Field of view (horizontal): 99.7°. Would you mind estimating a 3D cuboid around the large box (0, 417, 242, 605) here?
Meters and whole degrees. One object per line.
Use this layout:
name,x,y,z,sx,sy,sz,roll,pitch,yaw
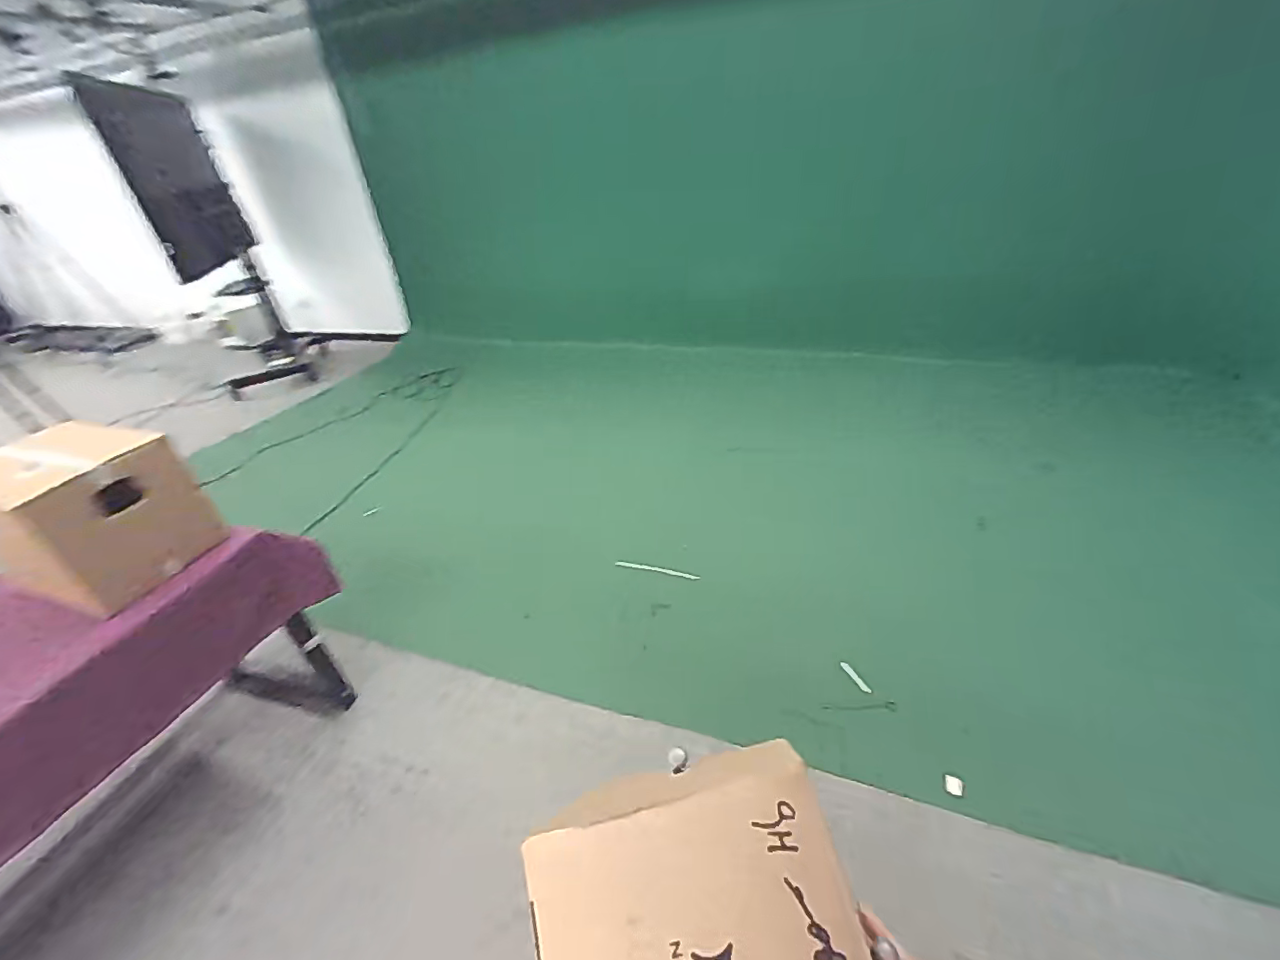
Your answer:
large box,-1.321,0.063,1.338,0.408,0.320,0.320,8,36,19
